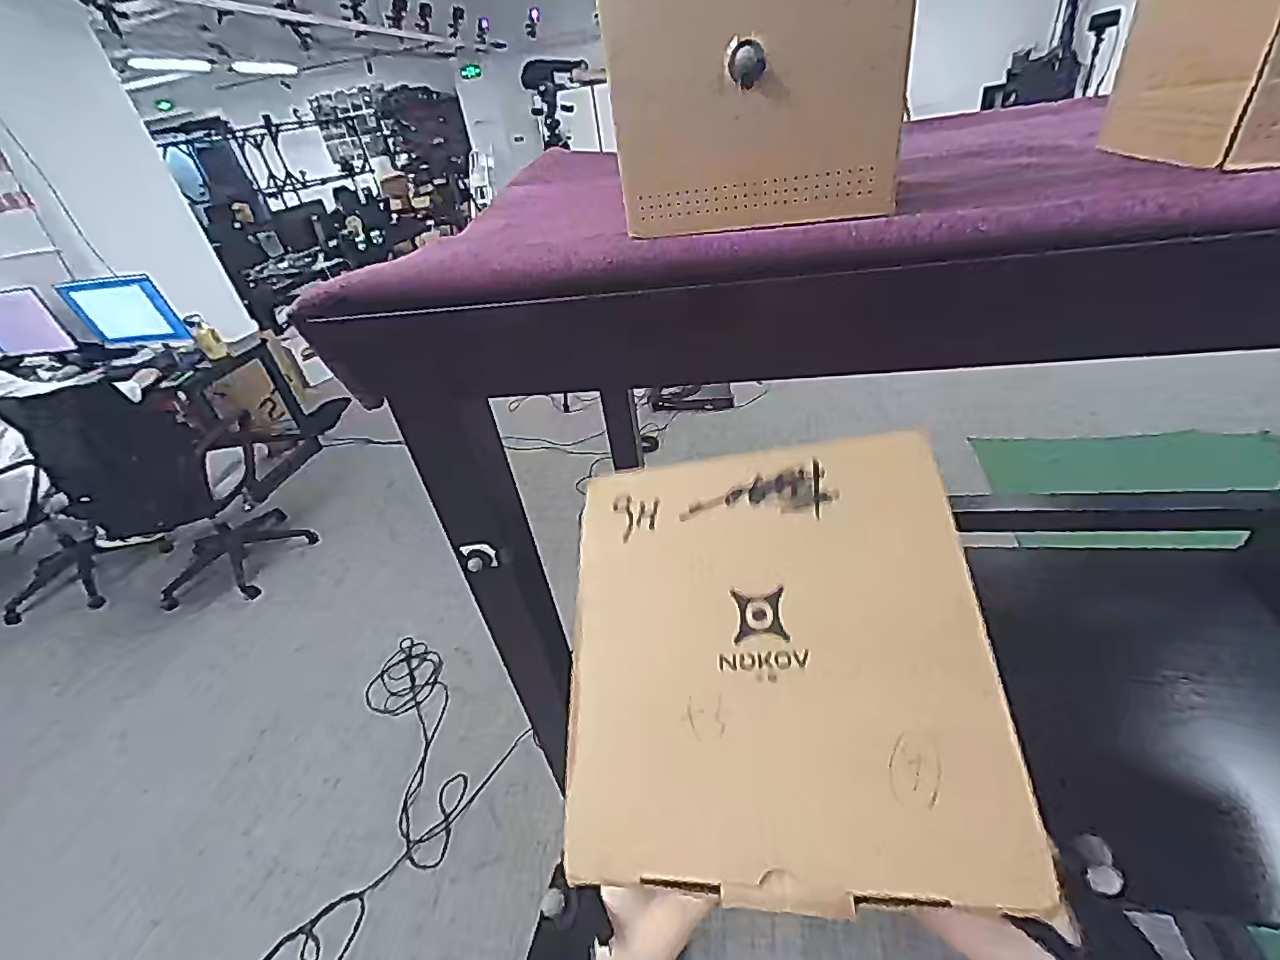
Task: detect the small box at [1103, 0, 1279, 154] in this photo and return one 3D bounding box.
[{"bbox_3d":[0.418,-0.297,0.311,0.168,0.176,0.179,1,36,16],"label":"small box"}]

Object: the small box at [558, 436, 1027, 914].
[{"bbox_3d":[0.069,0.102,0.294,0.168,0.176,0.179,-8,61,15],"label":"small box"}]
